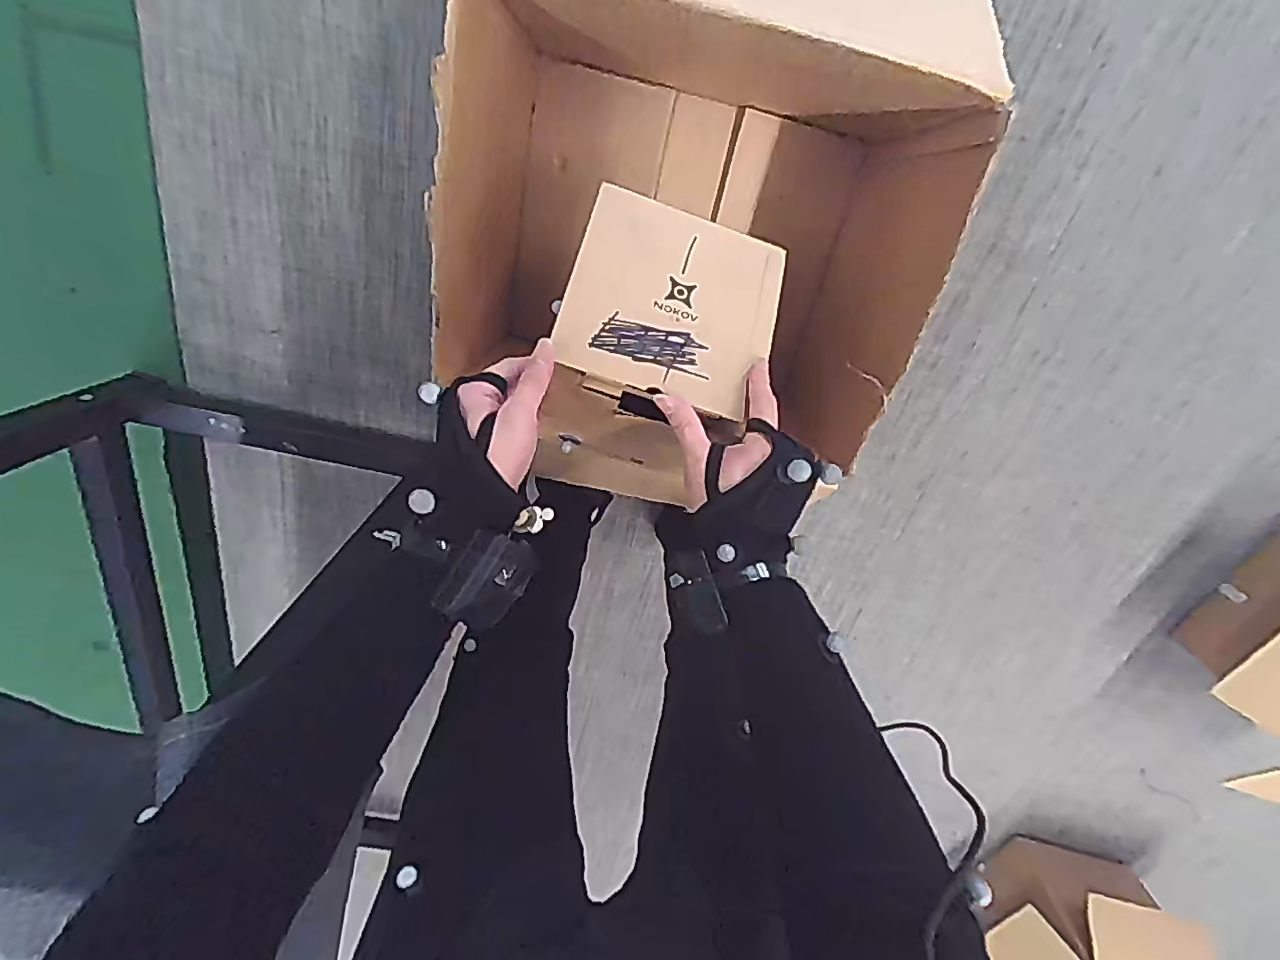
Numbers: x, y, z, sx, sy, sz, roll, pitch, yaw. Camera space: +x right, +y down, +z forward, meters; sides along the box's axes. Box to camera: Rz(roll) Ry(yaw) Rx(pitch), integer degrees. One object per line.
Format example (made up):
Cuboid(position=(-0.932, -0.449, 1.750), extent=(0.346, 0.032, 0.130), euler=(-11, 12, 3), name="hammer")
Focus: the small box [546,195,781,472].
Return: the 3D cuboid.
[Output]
Cuboid(position=(0.011, -0.121, 0.522), extent=(0.168, 0.176, 0.179), euler=(17, 75, -9), name="small box")
